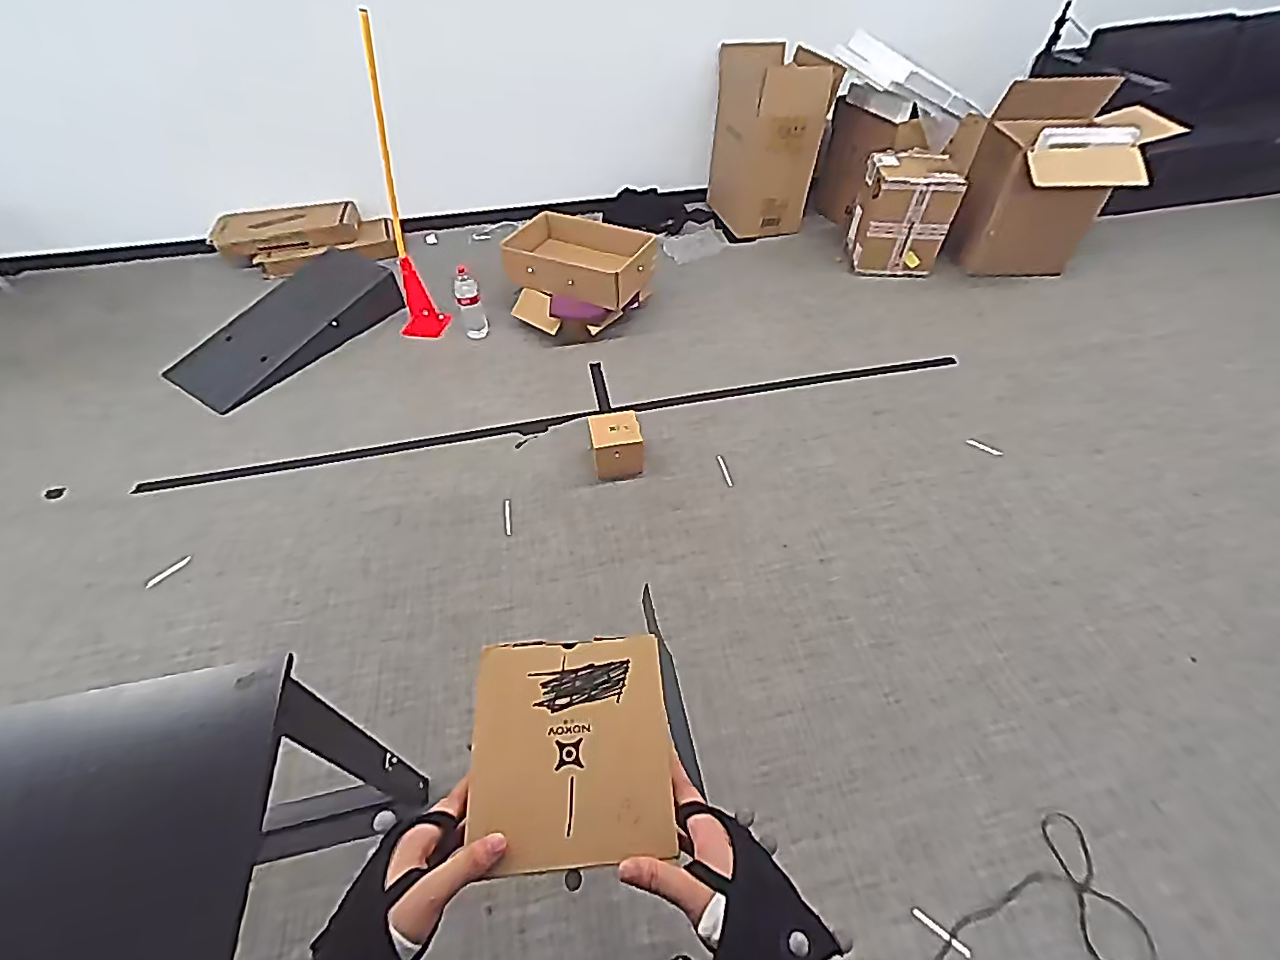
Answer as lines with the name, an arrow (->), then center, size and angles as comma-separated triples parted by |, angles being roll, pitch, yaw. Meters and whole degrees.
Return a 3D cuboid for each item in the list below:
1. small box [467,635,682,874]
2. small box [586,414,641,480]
small box -> -0.059, 0.265, 0.520 | 0.168, 0.176, 0.179 | -3, 56, -5
small box -> -0.096, -0.117, 1.987 | 0.179, 0.176, 0.168 | -8, 50, -8
